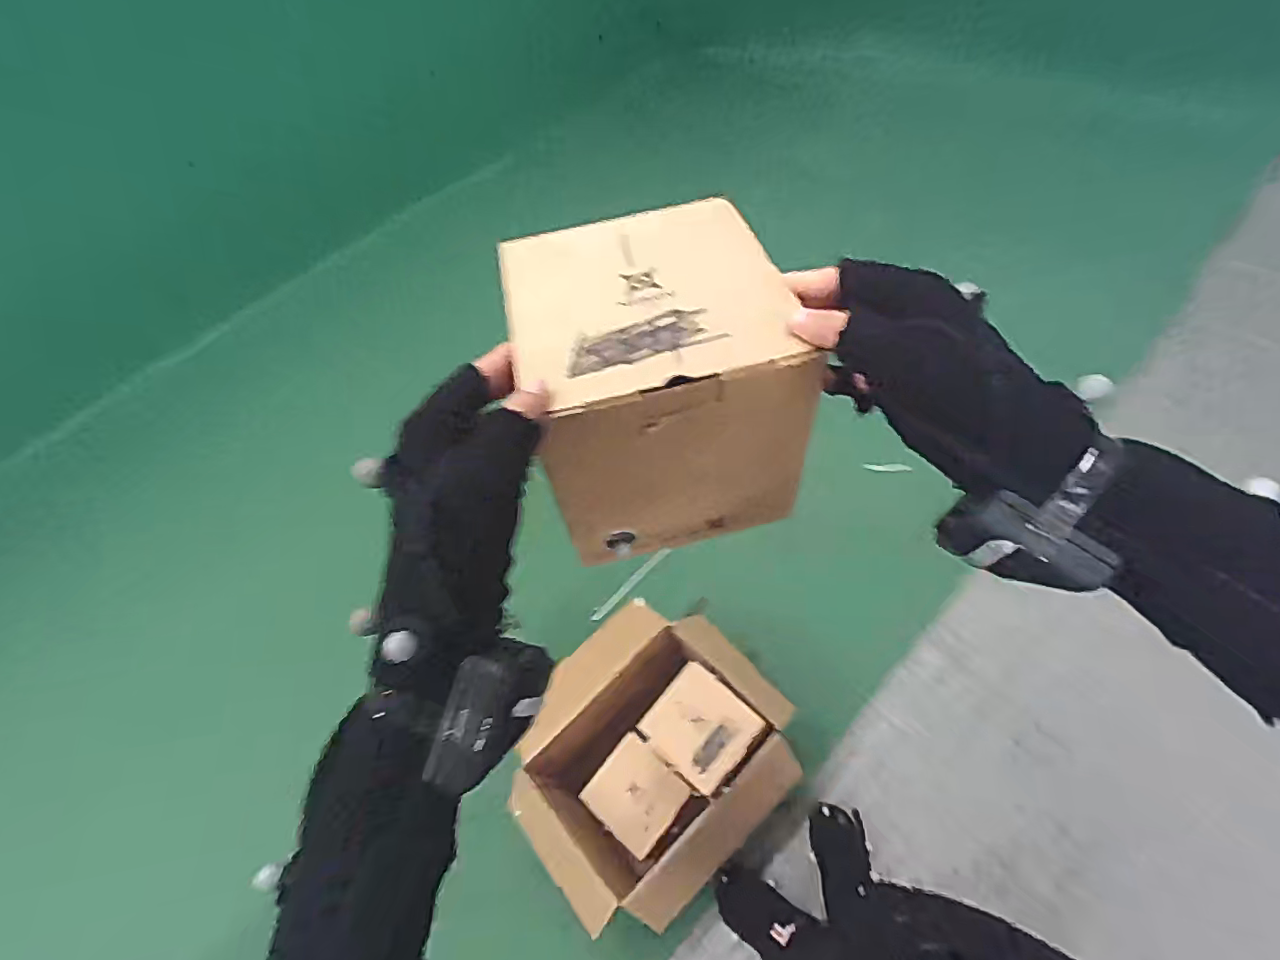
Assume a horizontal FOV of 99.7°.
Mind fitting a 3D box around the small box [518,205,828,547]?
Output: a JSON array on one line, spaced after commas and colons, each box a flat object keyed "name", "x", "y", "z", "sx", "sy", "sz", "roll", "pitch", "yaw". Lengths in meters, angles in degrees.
[{"name": "small box", "x": 0.017, "y": -0.066, "z": 0.400, "sx": 0.168, "sy": 0.176, "sz": 0.179, "roll": -13, "pitch": 52, "yaw": -2}]
